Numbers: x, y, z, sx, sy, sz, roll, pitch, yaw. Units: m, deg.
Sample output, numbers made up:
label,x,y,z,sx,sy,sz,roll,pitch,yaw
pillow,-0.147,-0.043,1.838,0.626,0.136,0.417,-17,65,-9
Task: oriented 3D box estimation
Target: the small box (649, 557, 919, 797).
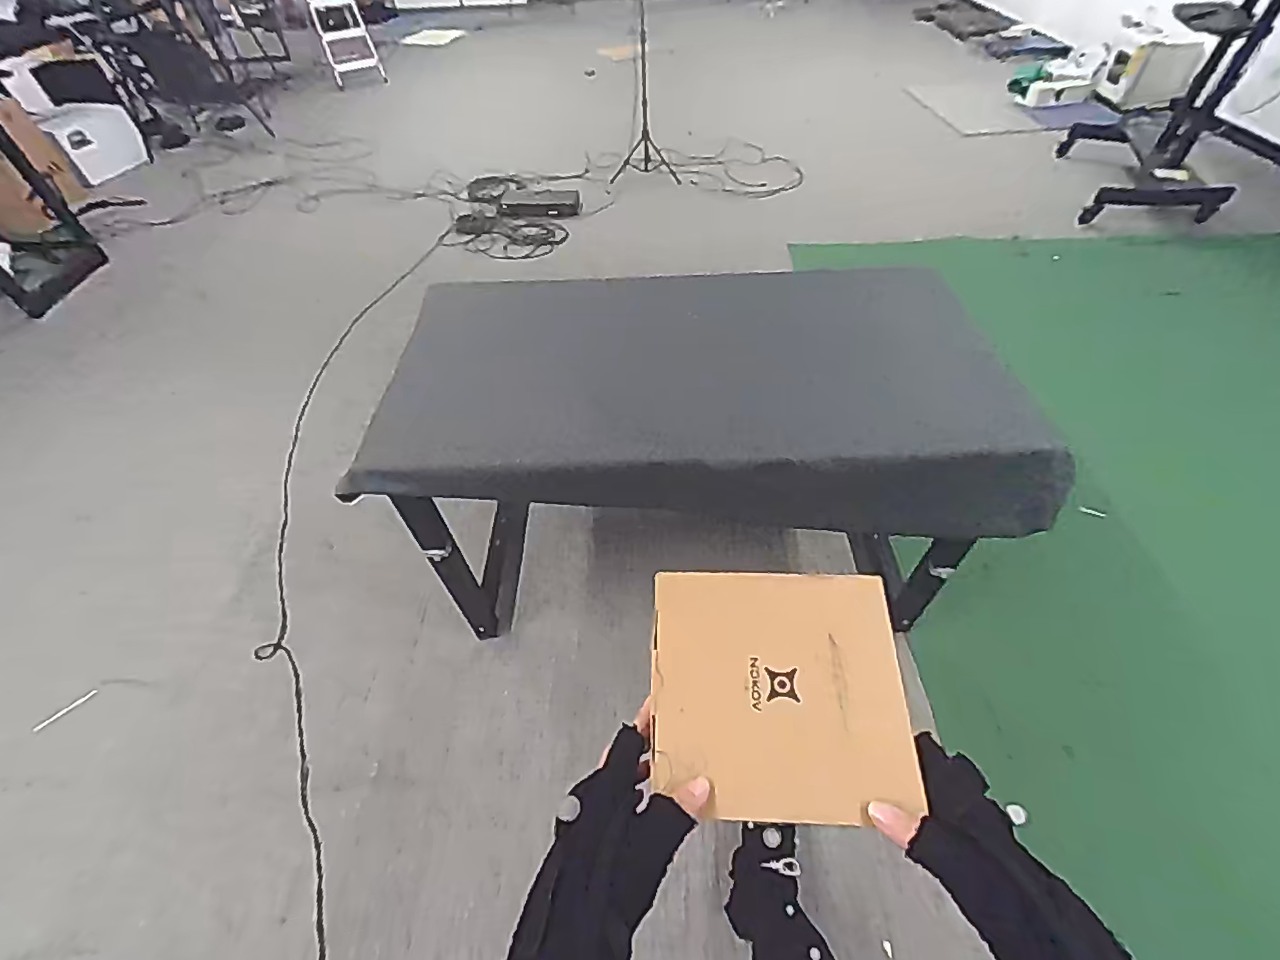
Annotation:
label,x,y,z,sx,sy,sz,roll,pitch,yaw
small box,0.098,0.172,0.458,0.179,0.176,0.168,-1,61,2
